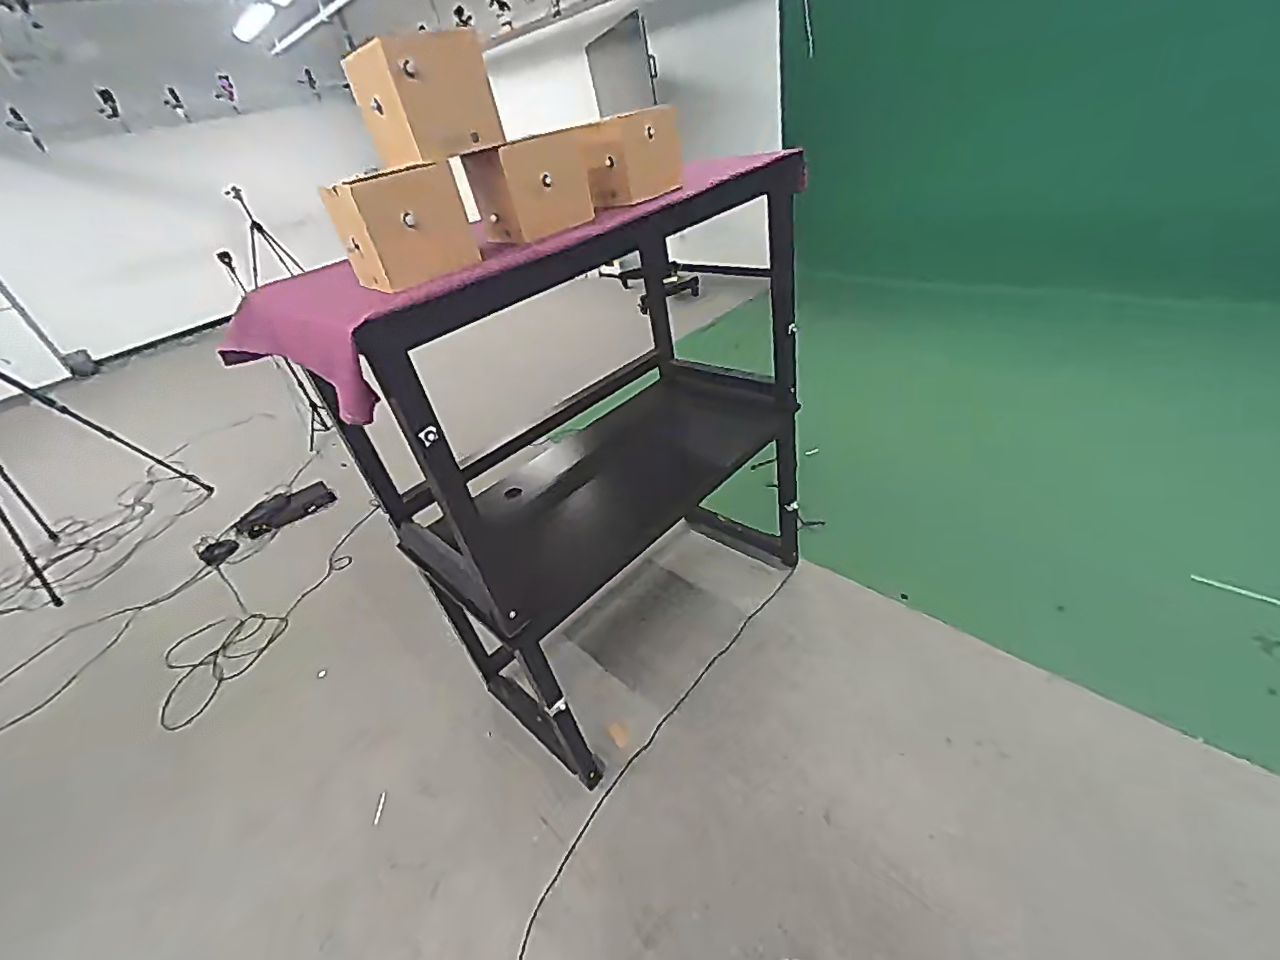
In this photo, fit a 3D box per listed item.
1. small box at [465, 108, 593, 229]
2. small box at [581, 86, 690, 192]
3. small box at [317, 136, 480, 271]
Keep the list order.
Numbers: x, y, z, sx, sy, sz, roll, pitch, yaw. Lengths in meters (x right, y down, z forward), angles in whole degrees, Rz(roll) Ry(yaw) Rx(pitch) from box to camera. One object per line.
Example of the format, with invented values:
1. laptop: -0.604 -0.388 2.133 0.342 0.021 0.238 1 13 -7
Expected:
1. small box: -0.208 -0.609 1.060 0.179 0.176 0.168 -33 41 -26
2. small box: -0.005 -0.744 1.192 0.179 0.176 0.168 -35 41 -29
3. small box: -0.404 -0.466 0.919 0.179 0.176 0.168 -33 41 -28
